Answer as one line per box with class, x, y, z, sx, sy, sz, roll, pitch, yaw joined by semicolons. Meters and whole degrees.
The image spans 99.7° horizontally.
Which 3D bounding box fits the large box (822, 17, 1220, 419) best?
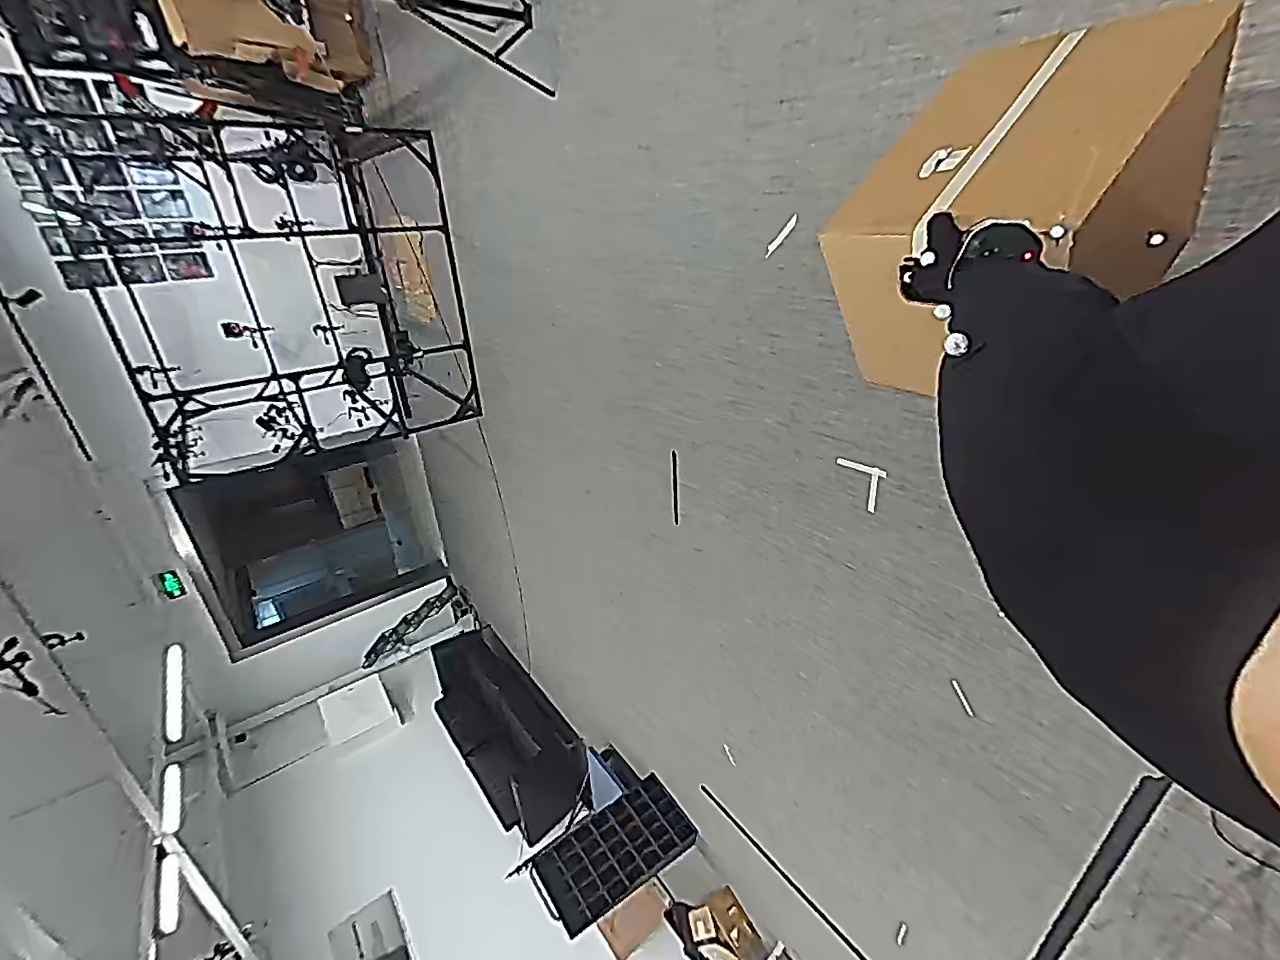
large box;0.551;-0.367;0.814;0.320;0.408;0.320;29;167;48
